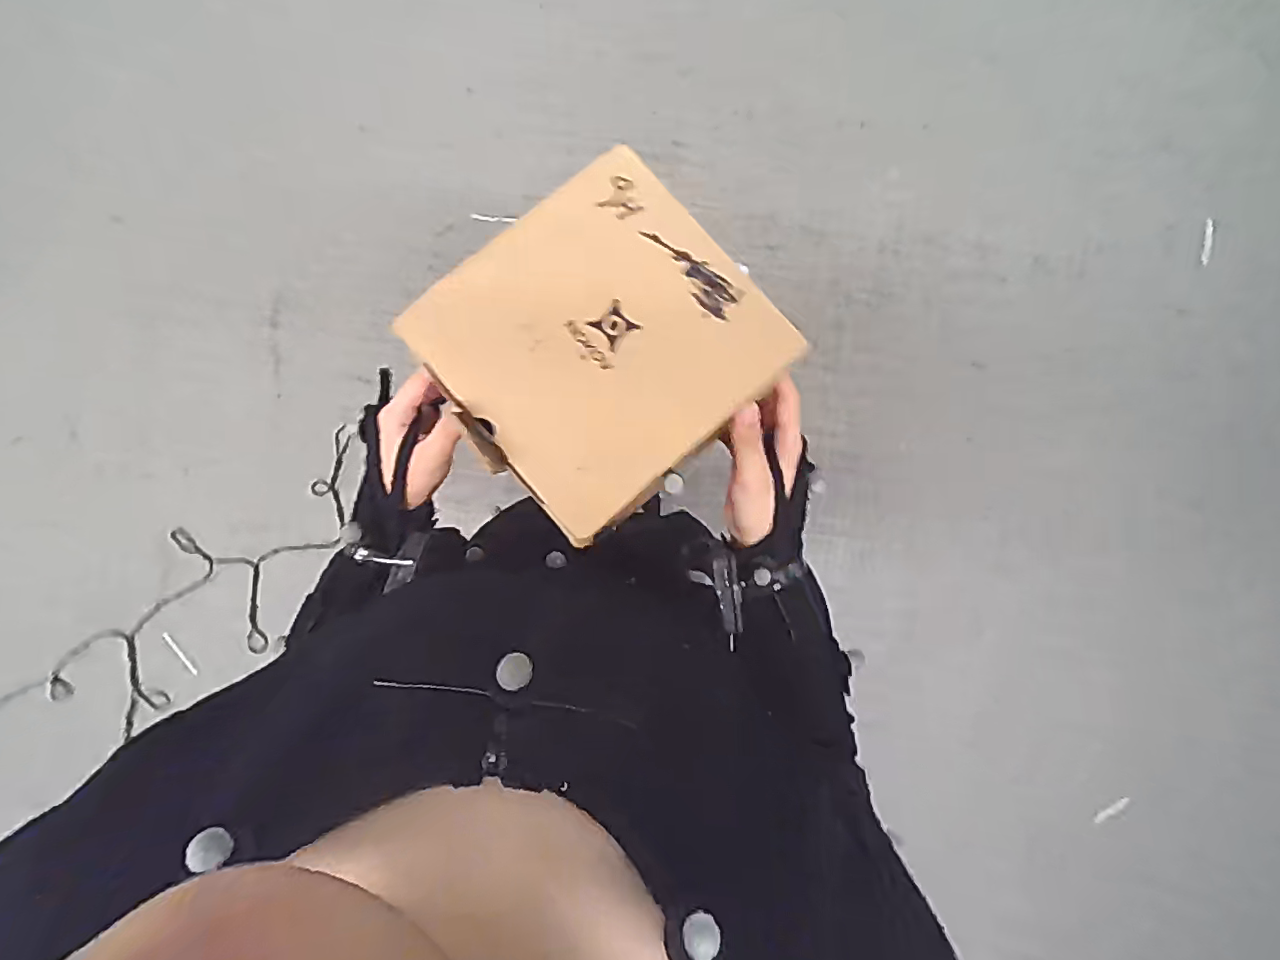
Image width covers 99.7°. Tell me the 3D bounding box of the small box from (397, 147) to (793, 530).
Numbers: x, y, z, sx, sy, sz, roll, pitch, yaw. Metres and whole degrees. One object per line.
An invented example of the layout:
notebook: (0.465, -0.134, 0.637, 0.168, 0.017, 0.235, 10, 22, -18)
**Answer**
small box: (-0.026, -0.076, 0.391, 0.179, 0.176, 0.168, -41, 86, -5)
